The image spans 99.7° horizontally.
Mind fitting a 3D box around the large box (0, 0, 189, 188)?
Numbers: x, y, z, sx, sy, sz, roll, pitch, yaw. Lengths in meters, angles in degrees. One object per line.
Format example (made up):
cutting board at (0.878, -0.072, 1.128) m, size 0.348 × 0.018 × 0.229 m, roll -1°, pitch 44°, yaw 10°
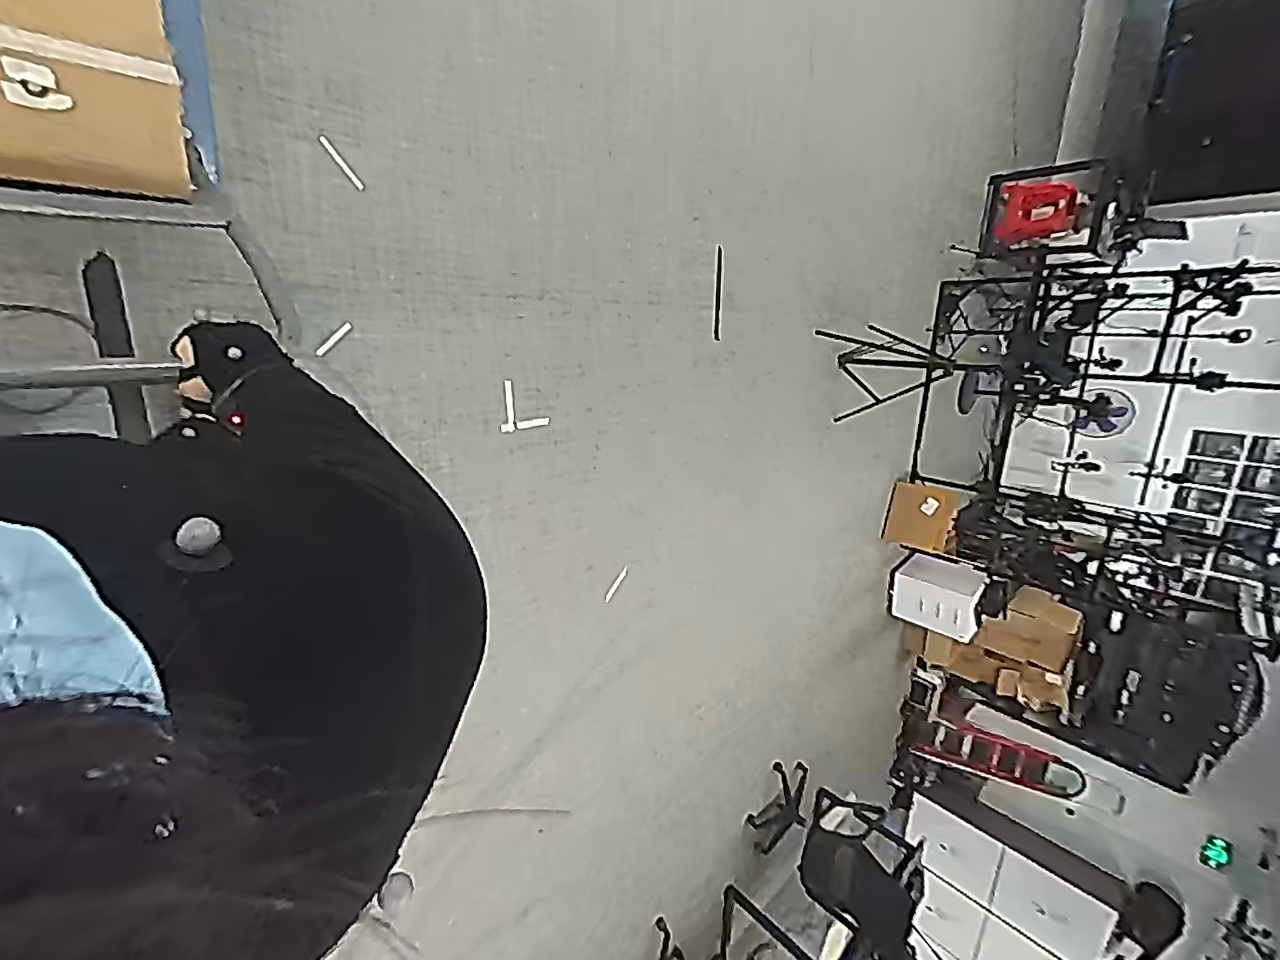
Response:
large box at (-0.870, -0.592, 0.667) m, size 0.408 × 0.320 × 0.320 m, roll -17°, pitch 136°, yaw -43°
